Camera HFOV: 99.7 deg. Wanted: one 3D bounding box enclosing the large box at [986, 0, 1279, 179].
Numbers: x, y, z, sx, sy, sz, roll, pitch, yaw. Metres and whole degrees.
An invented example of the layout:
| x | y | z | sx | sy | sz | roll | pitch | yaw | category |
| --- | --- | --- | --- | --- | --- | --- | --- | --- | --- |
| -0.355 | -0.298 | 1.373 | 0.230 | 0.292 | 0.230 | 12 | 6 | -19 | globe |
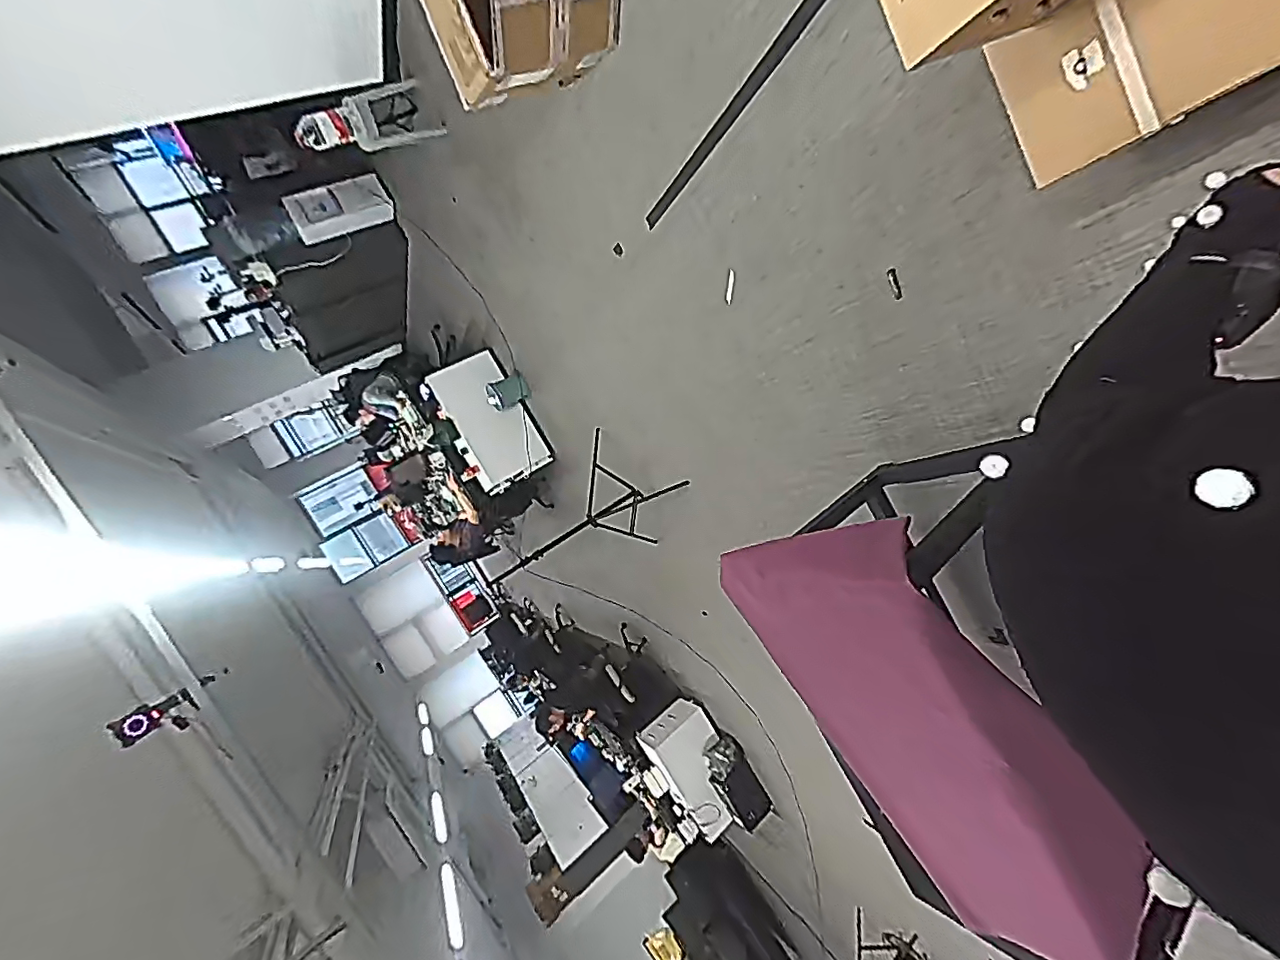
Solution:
| x | y | z | sx | sy | sz | roll | pitch | yaw | category |
| --- | --- | --- | --- | --- | --- | --- | --- | --- | --- |
| 0.773 | -0.766 | 0.811 | 0.408 | 0.320 | 0.320 | 60 | 157 | -8 | large box |

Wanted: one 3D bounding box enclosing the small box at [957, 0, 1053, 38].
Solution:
| x | y | z | sx | sy | sz | roll | pitch | yaw | category |
| --- | --- | --- | --- | --- | --- | --- | --- | --- | --- |
| 0.530 | -0.734 | 0.703 | 0.168 | 0.176 | 0.179 | 60 | 156 | -11 | small box |
